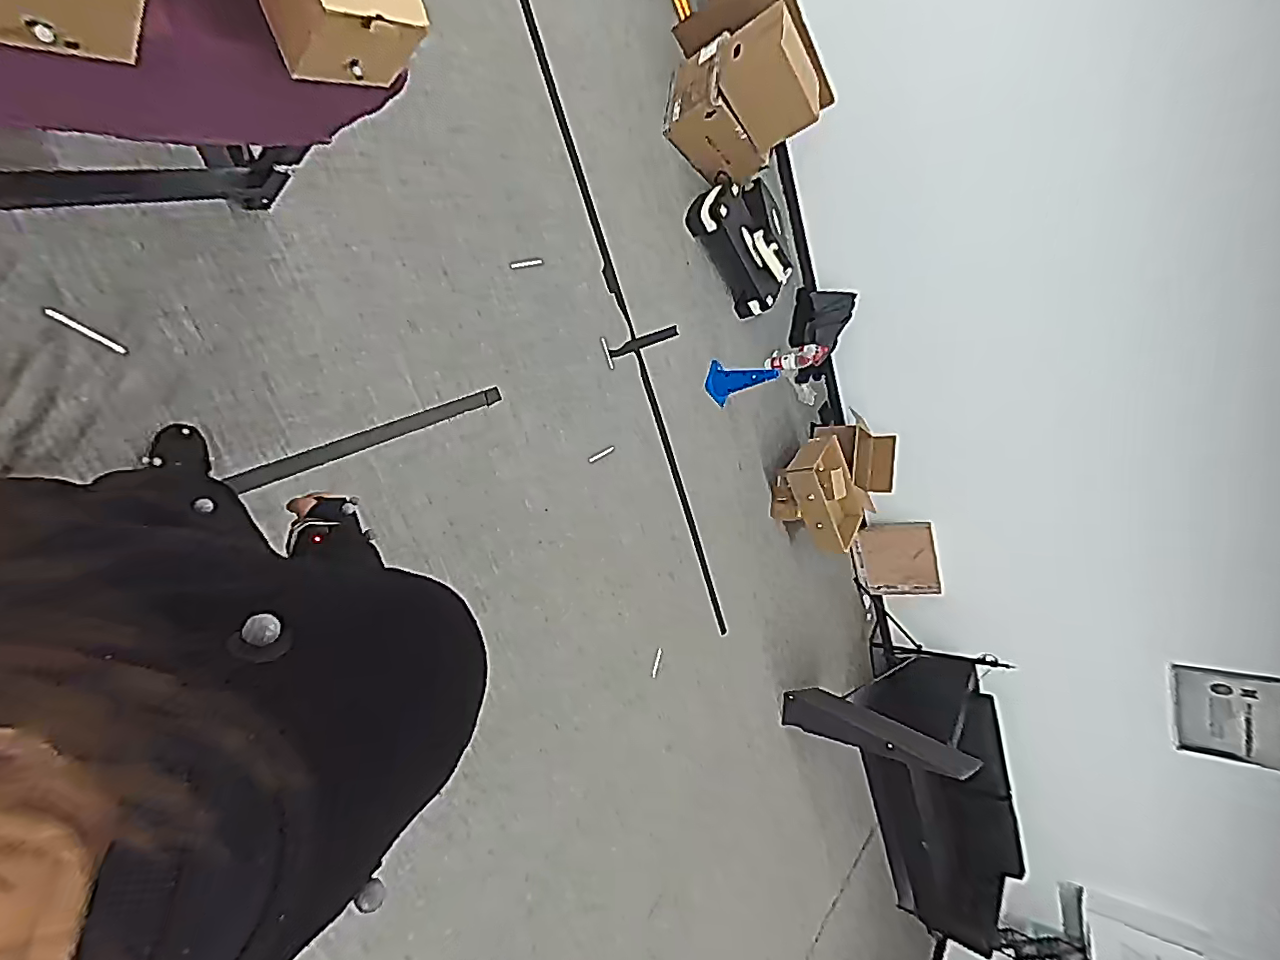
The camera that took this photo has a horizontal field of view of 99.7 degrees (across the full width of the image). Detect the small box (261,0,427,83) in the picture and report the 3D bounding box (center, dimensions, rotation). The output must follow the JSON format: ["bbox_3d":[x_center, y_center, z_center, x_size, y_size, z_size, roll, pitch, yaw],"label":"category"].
[{"bbox_3d":[-0.460,-0.743,0.810,0.168,0.176,0.179,-33,111,-42],"label":"small box"}]
